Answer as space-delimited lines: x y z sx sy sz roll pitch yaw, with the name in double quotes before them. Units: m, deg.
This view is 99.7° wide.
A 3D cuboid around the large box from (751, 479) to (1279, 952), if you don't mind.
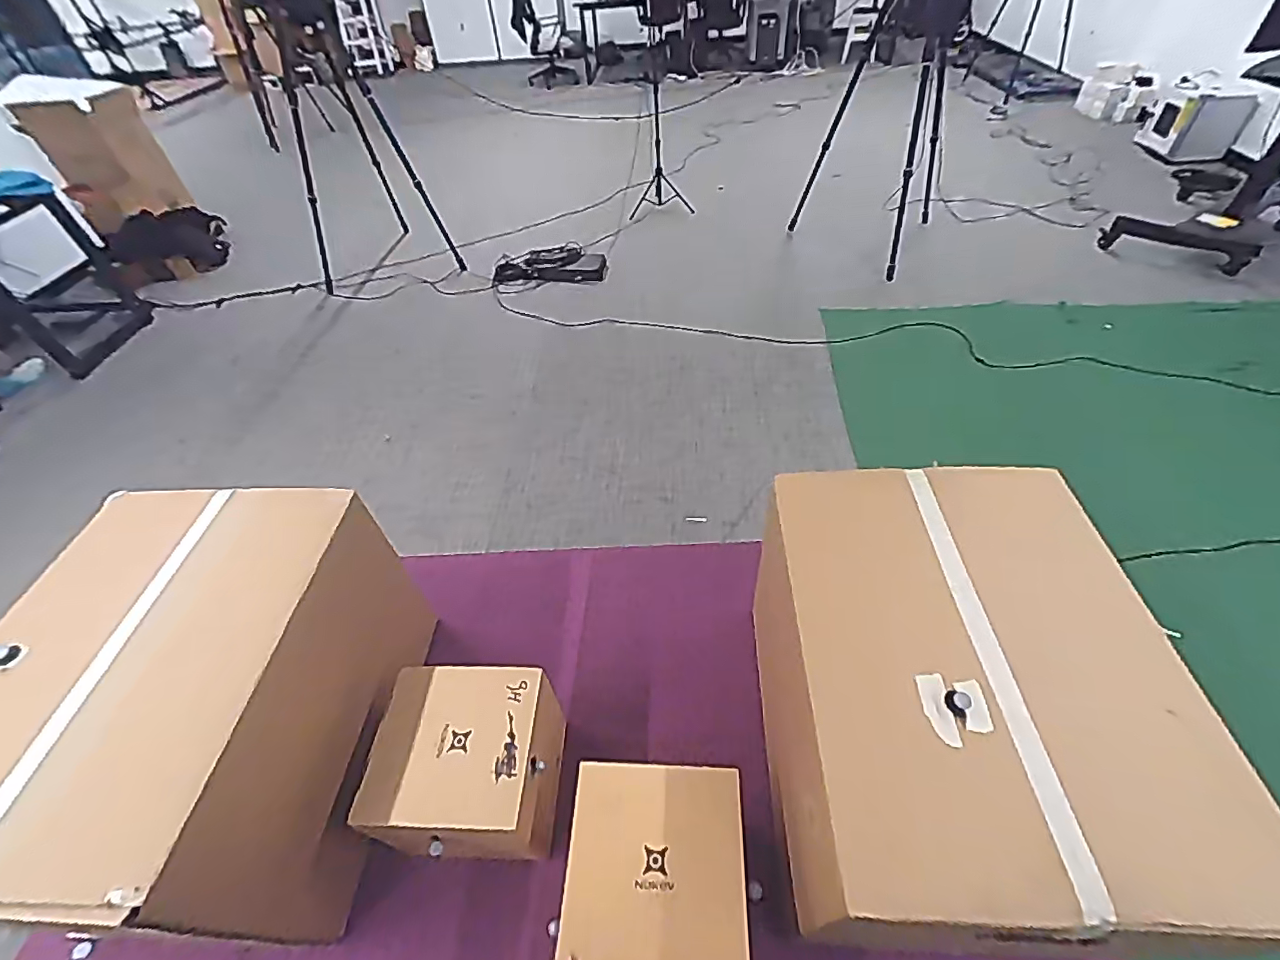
"large box" 0.313 0.248 0.602 0.320 0.320 0.408 0 48 4
